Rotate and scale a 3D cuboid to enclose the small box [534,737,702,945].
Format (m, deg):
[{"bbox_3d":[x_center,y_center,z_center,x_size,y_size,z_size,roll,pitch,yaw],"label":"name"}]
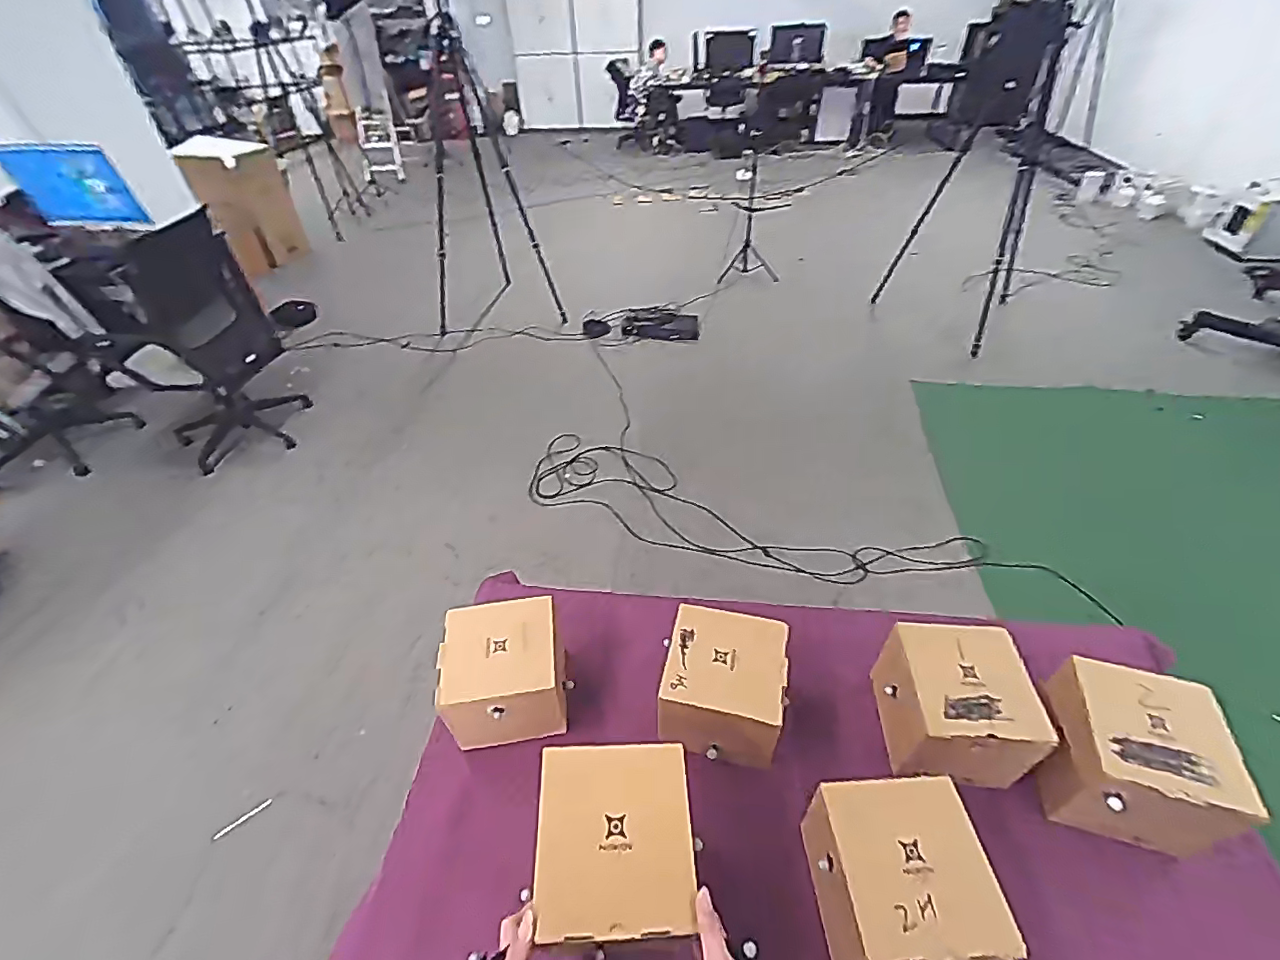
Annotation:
[{"bbox_3d":[-0.030,0.420,0.630,0.168,0.176,0.179,1,48,-5],"label":"small box"}]

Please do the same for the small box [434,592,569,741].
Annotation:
[{"bbox_3d":[-0.218,0.311,0.894,0.179,0.176,0.168,-7,44,-5],"label":"small box"}]

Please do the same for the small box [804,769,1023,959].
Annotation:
[{"bbox_3d":[0.314,0.485,0.670,0.168,0.176,0.179,-4,41,0],"label":"small box"}]
